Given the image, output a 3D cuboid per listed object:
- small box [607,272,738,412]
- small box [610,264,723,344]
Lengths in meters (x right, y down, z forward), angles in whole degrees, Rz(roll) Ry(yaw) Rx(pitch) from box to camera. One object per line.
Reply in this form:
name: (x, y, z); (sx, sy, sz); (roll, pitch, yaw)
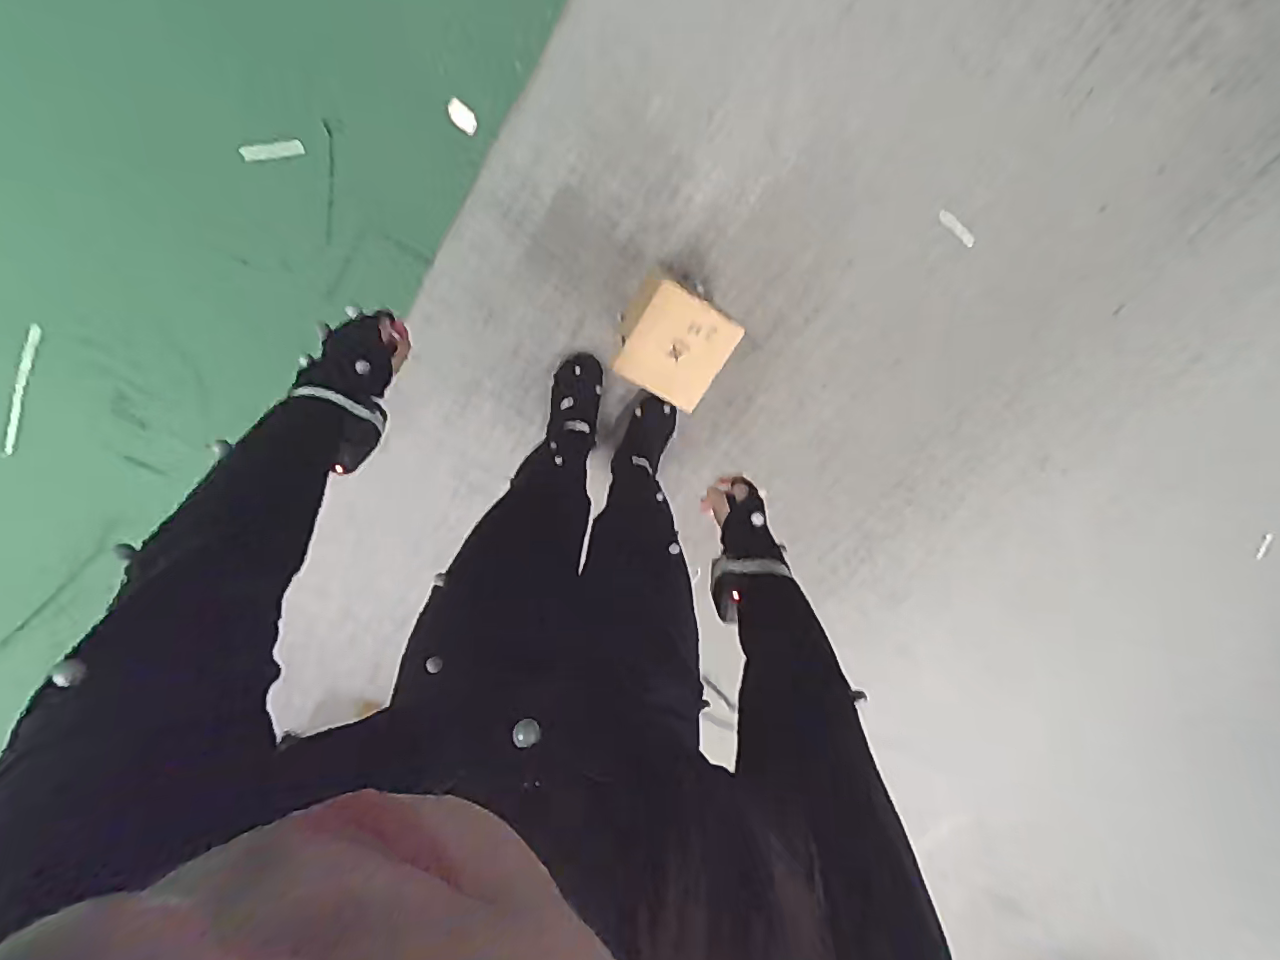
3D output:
small box: (0.054, -0.262, 1.006); (0.168, 0.176, 0.179); (29, 112, -17)
small box: (0.051, -0.336, 1.153); (0.168, 0.176, 0.179); (30, 111, -17)
